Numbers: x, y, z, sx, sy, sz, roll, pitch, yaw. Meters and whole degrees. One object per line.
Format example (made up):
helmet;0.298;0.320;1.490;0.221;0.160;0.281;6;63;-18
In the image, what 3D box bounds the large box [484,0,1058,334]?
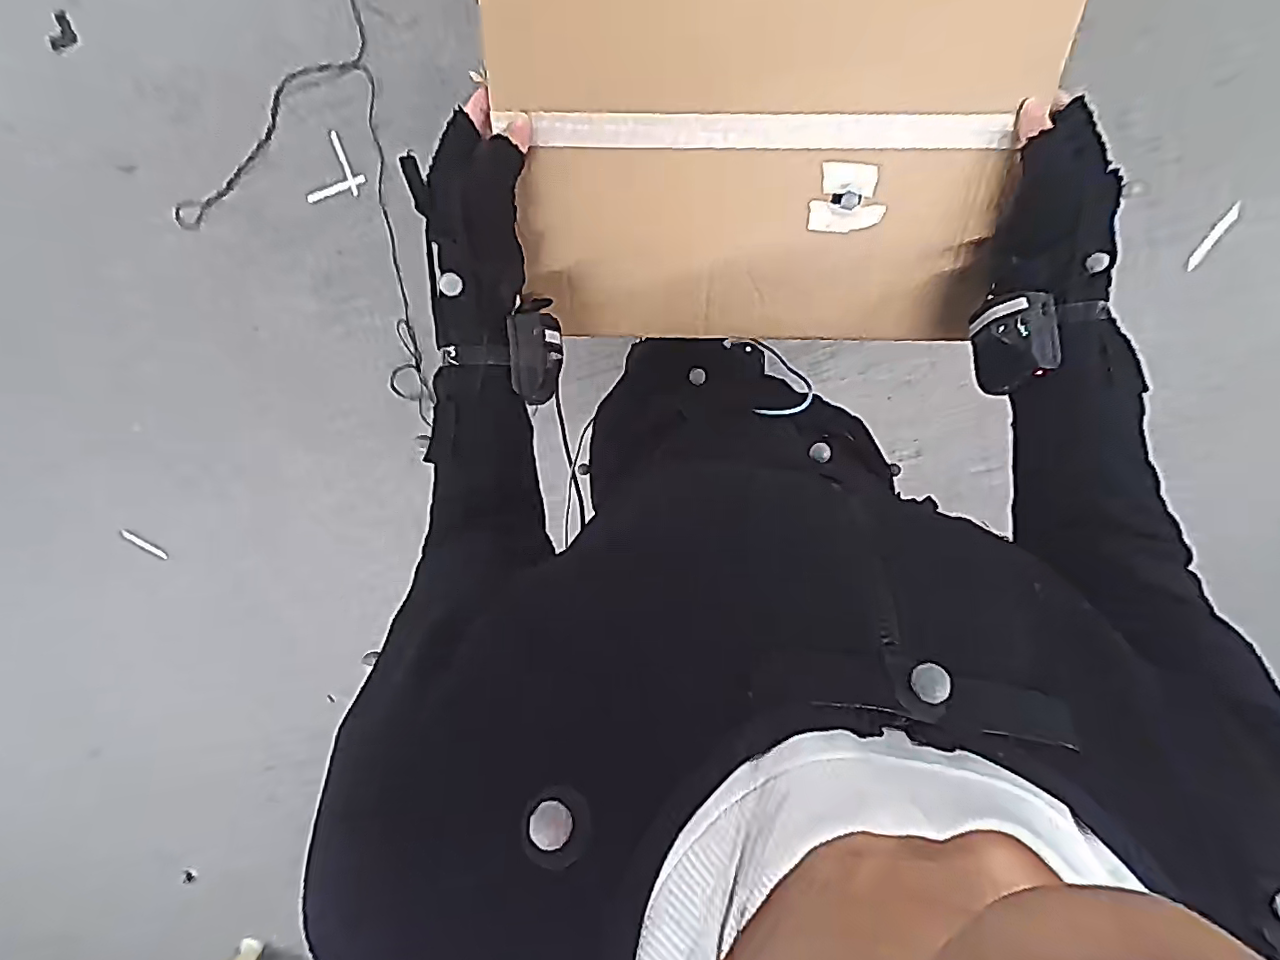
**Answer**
large box;0.089;-0.345;0.539;0.408;0.320;0.320;-1;122;-1
